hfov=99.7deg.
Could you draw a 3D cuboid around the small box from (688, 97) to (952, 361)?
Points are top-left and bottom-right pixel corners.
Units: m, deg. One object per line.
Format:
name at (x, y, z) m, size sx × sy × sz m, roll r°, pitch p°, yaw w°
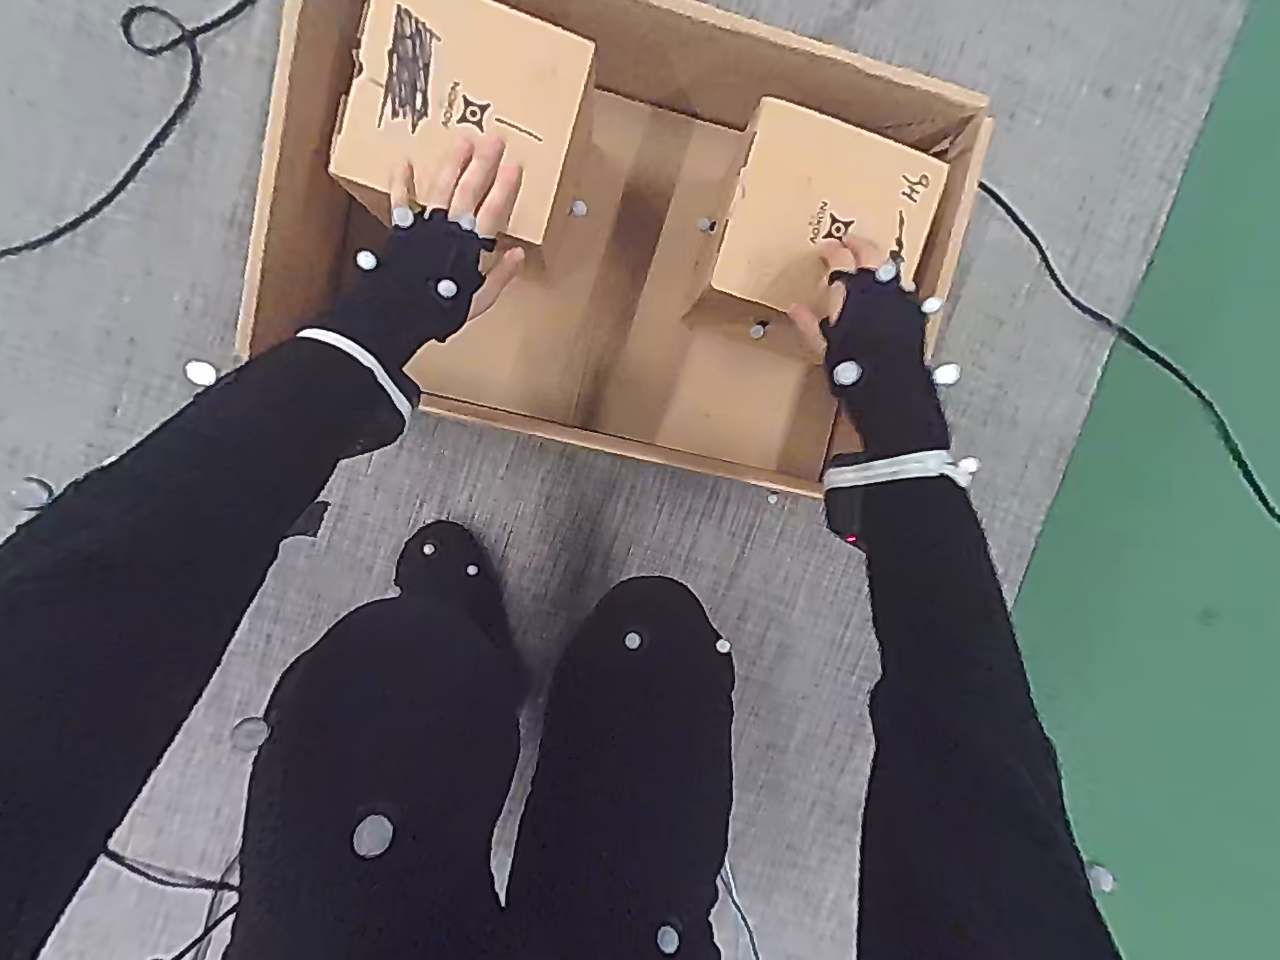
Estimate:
small box at (0.160, -0.228, 0.546) m, size 0.179 × 0.176 × 0.168 m, roll 18°, pitch 95°, yaw -6°
